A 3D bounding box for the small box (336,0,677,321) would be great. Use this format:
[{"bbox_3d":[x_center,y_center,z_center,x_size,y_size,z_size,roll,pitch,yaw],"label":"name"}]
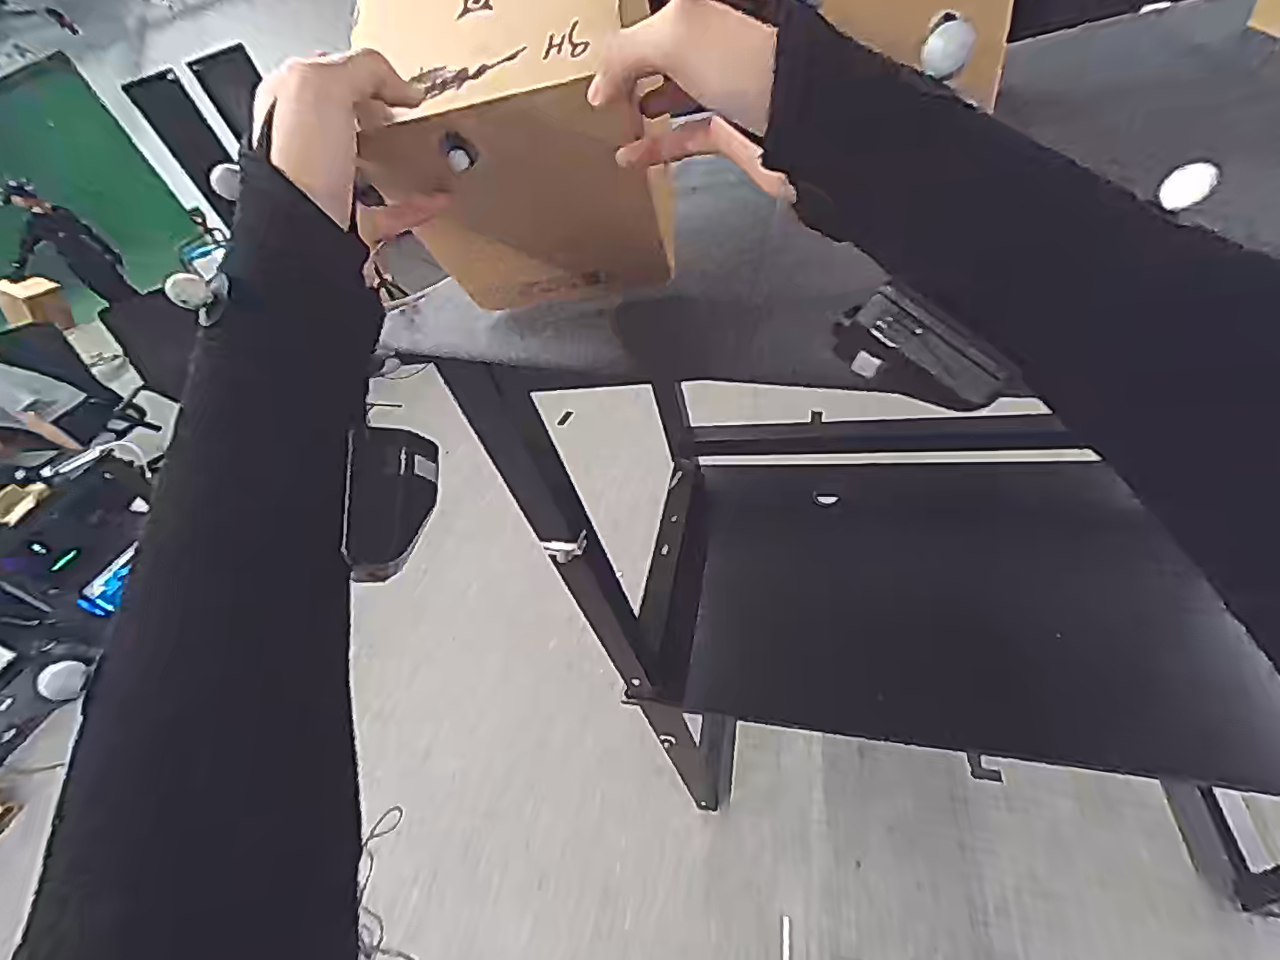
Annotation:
[{"bbox_3d":[-0.069,-0.239,0.378,0.168,0.176,0.179,-5,72,12],"label":"small box"}]
